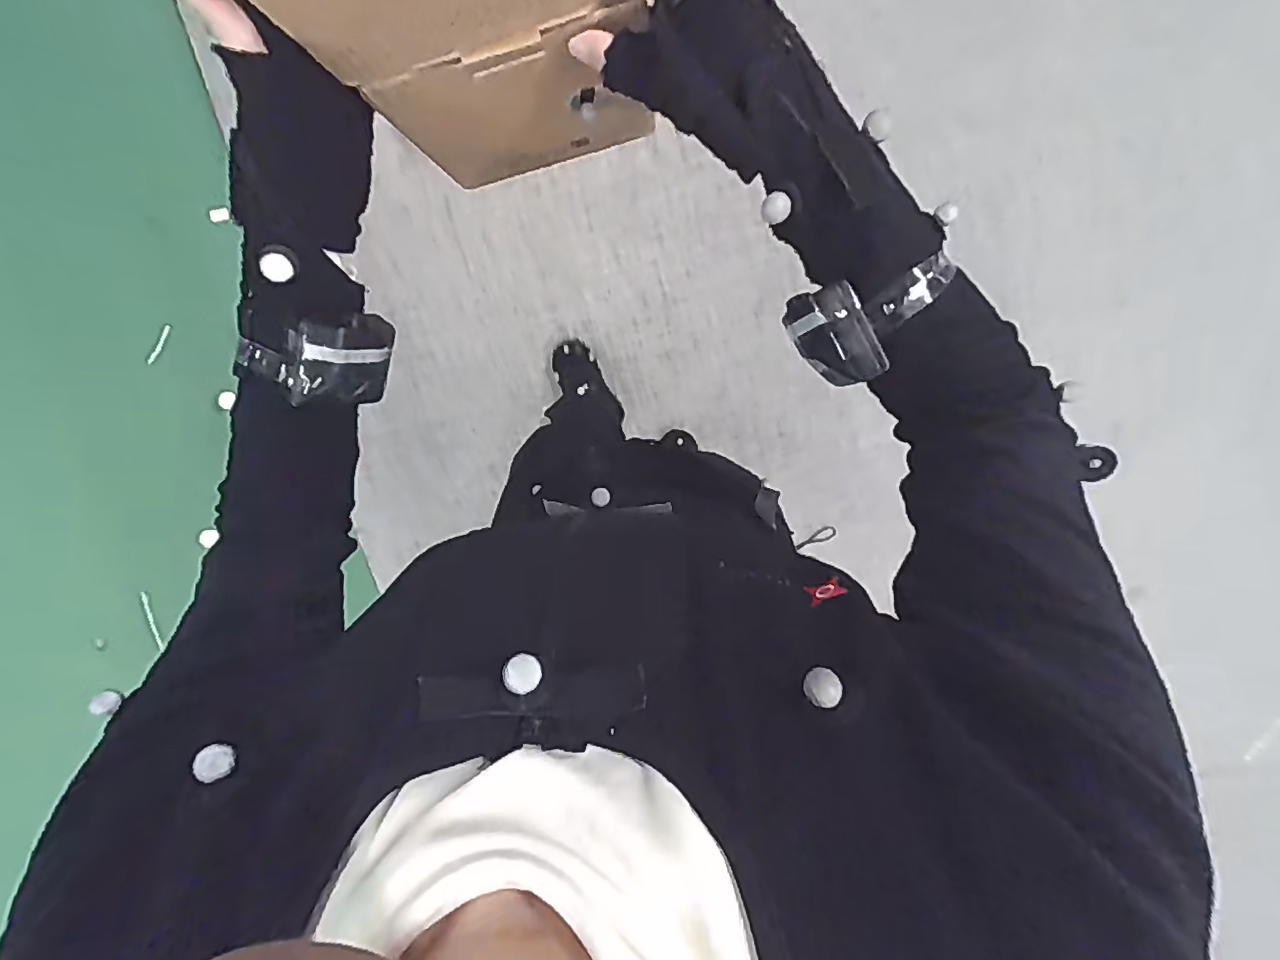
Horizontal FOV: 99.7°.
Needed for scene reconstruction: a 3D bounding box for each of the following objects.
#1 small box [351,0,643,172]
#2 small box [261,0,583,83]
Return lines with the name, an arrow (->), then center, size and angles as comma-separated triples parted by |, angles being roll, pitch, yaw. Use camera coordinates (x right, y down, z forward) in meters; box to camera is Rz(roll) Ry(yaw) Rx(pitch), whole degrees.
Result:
small box -> -0.096, -0.331, 0.356 | 0.168, 0.176, 0.179 | -14, 100, 5
small box -> -0.100, -0.296, 0.196 | 0.179, 0.176, 0.168 | -18, 101, 5
